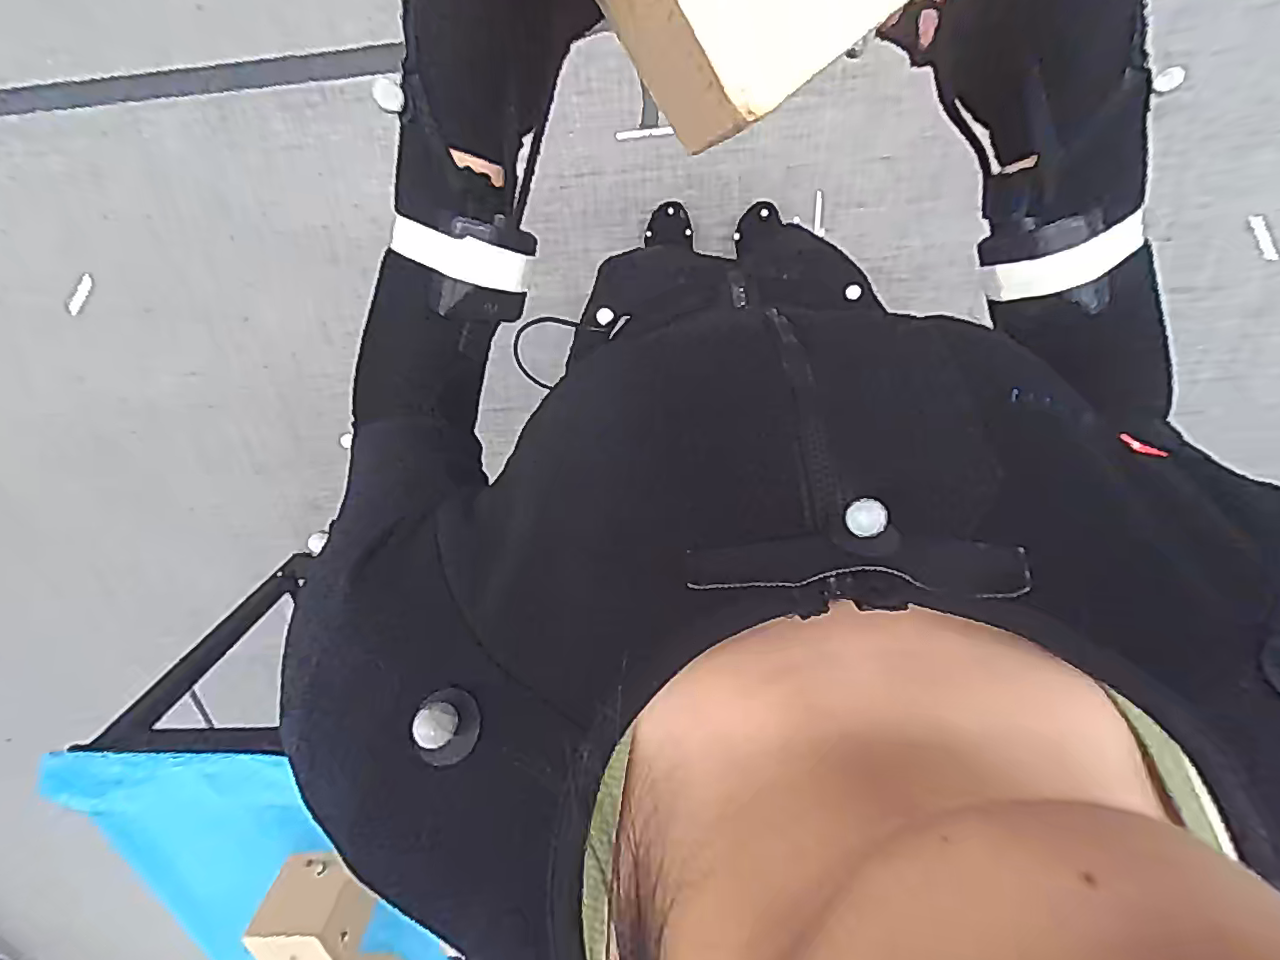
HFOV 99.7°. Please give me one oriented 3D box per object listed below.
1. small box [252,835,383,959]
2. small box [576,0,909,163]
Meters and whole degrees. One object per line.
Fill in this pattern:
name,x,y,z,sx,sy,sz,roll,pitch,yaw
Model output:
small box,-0.713,0.940,1.221,0.168,0.176,0.179,-3,117,5
small box,0.041,-0.259,0.206,0.168,0.176,0.179,-31,115,13
